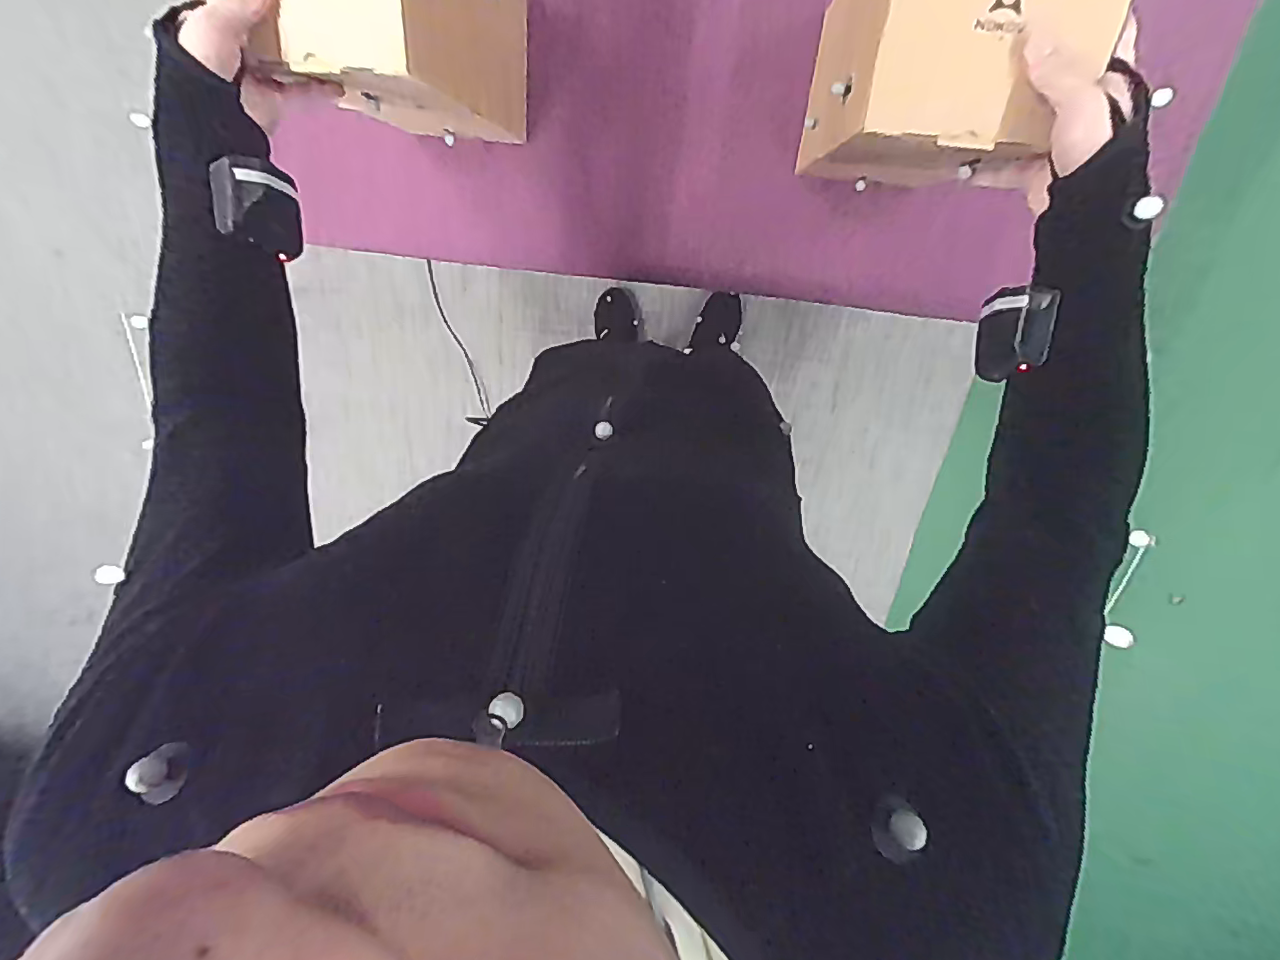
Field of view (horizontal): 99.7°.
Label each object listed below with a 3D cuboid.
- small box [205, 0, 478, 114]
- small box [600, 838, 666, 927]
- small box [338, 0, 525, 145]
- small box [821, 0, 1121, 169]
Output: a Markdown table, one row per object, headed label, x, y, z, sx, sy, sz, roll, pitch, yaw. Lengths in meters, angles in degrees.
| label | x | y | z | sx | sy | sz | roll | pitch | yaw |
| --- | --- | --- | --- | --- | --- | --- | --- | --- | --- |
| small box | -0.257 | -0.452 | 0.484 | 0.168 | 0.176 | 0.179 | 6 | 116 | 4 |
| small box | -0.018 | 1.344 | 1.814 | 0.179 | 0.176 | 0.168 | 17 | 114 | -1 |
| small box | -0.240 | -0.516 | 0.633 | 0.168 | 0.176 | 0.179 | 7 | 113 | 4 |
| small box | 0.263 | -0.375 | 0.456 | 0.168 | 0.176 | 0.179 | 7 | 114 | 3 |
